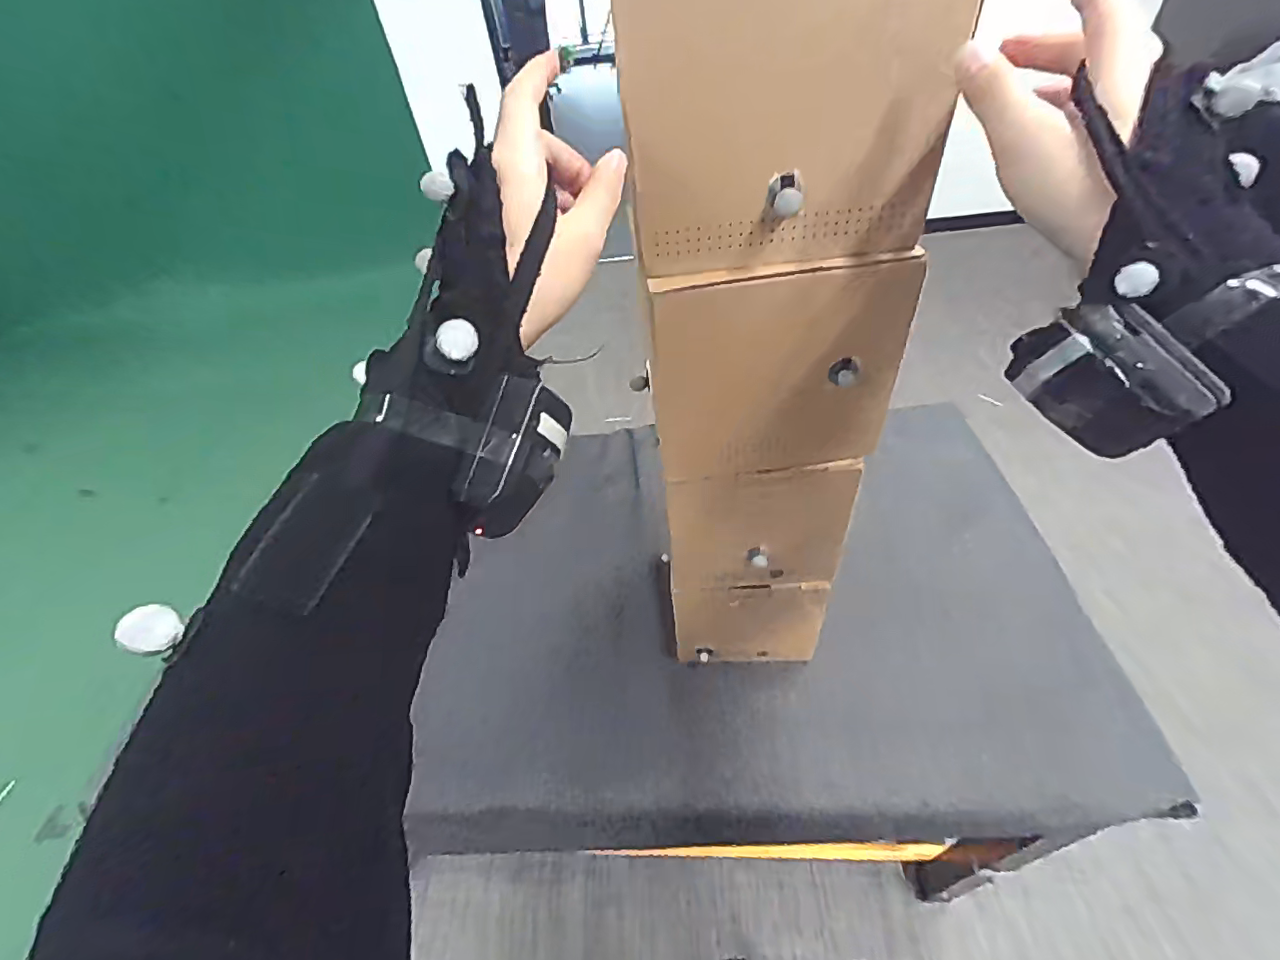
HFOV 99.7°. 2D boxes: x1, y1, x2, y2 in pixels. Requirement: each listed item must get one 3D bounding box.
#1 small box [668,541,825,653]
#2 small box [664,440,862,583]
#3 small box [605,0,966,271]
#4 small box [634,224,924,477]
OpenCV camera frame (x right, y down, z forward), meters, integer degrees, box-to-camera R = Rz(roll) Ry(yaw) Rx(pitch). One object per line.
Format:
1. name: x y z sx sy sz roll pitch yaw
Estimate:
1. small box: 0.124 0.103 0.676 0.168 0.176 0.179 -2 45 5
2. small box: 0.109 -0.014 0.560 0.168 0.176 0.179 -5 46 4
3. small box: 0.072 -0.250 0.338 0.179 0.176 0.168 -5 44 3
4. small box: 0.090 -0.123 0.442 0.179 0.176 0.168 -9 44 1
